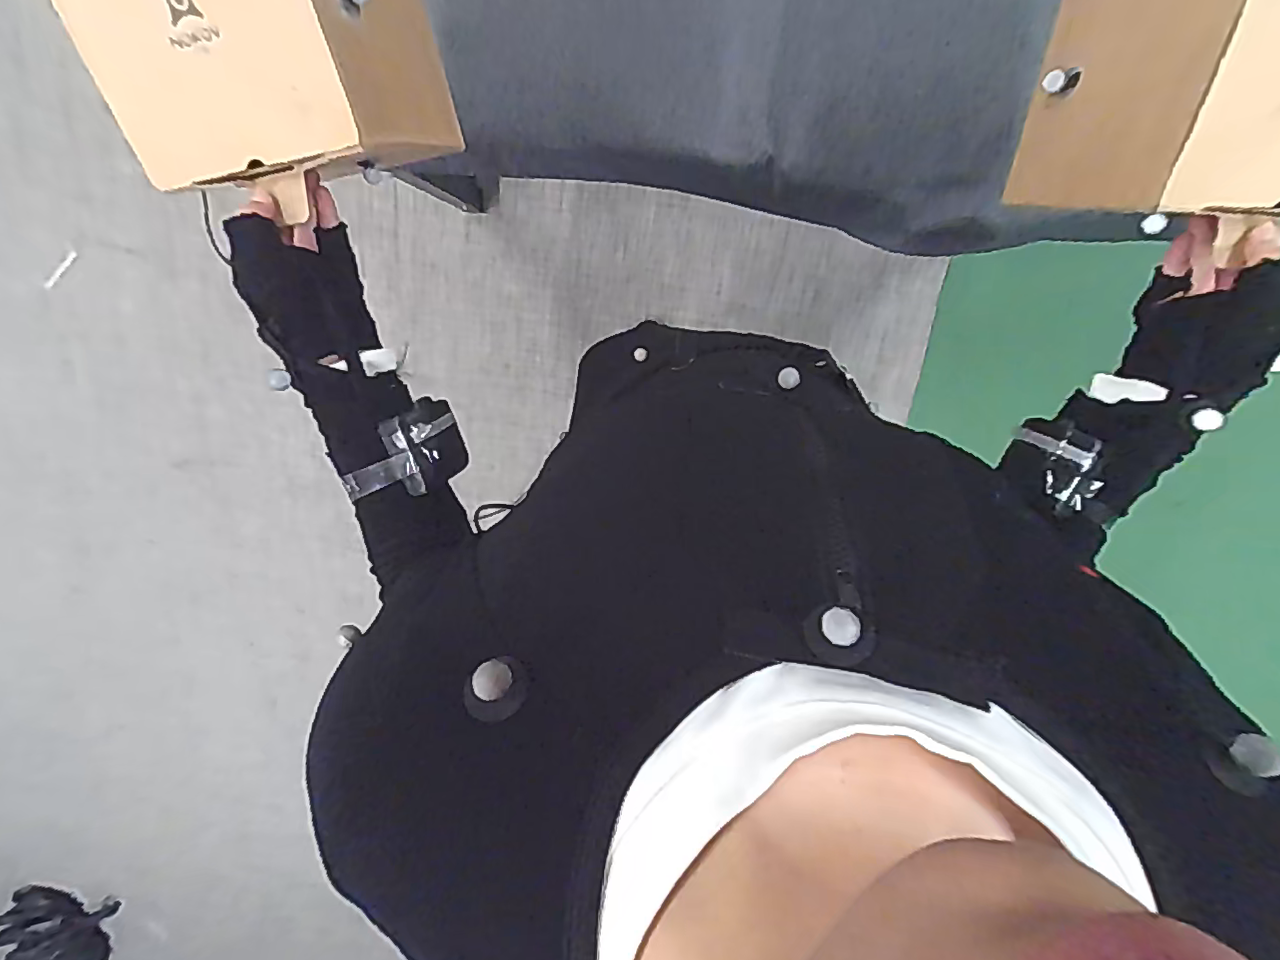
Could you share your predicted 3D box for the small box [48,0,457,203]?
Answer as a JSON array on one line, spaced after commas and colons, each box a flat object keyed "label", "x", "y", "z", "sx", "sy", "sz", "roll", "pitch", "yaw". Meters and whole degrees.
[{"label": "small box", "x": -0.257, "y": -0.313, "z": 0.385, "sx": 0.168, "sy": 0.176, "sz": 0.179, "roll": -6, "pitch": 119, "yaw": 10}]
